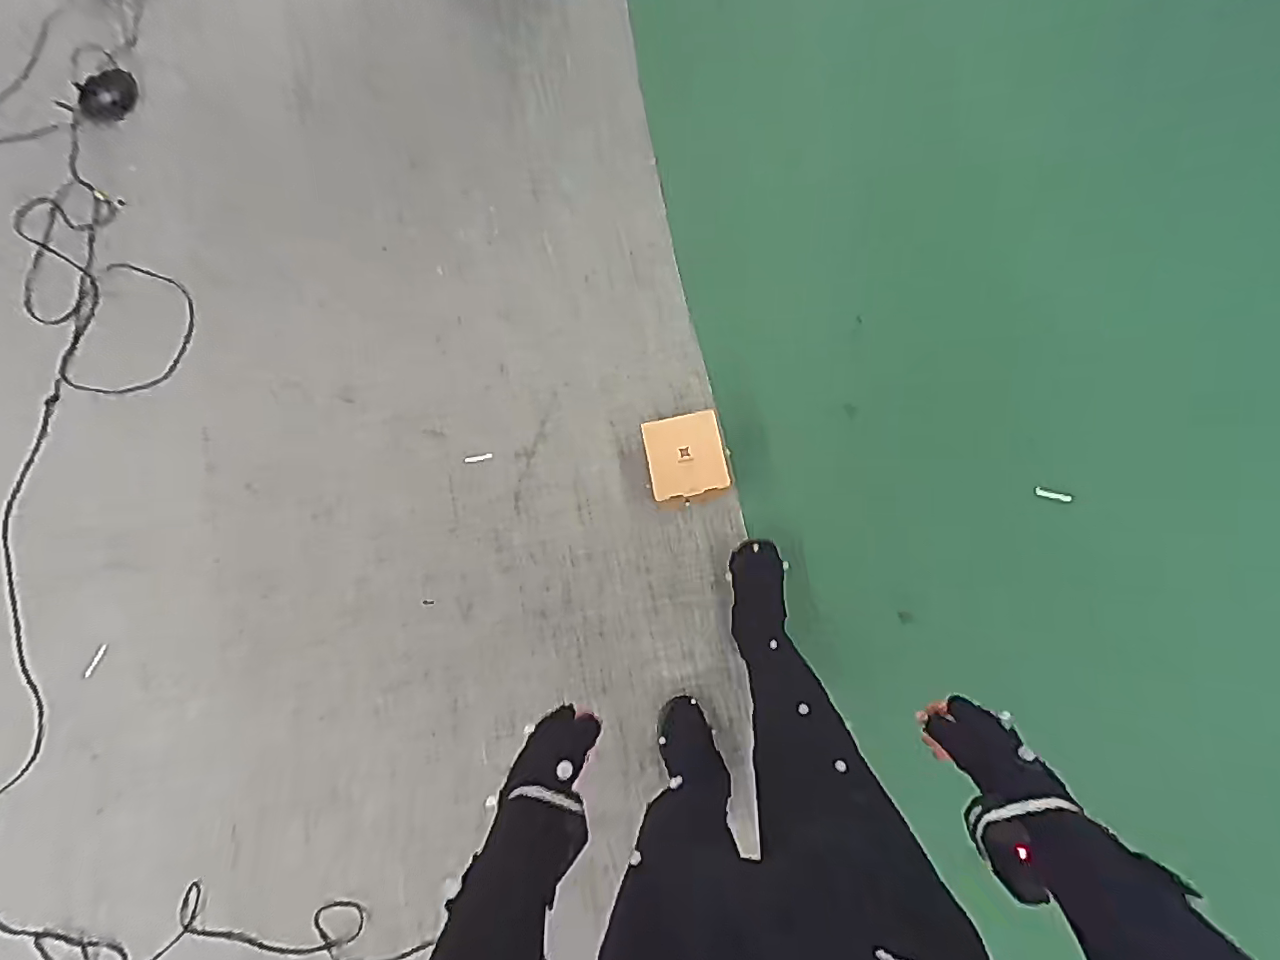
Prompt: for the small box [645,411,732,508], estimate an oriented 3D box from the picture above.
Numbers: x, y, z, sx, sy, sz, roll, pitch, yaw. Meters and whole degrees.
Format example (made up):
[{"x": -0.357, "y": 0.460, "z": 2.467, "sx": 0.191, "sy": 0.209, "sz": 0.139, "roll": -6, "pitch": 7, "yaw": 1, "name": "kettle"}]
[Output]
[{"x": 0.108, "y": -0.041, "z": 1.250, "sx": 0.168, "sy": 0.176, "sz": 0.179, "roll": -12, "pitch": 80, "yaw": 3, "name": "small box"}]
